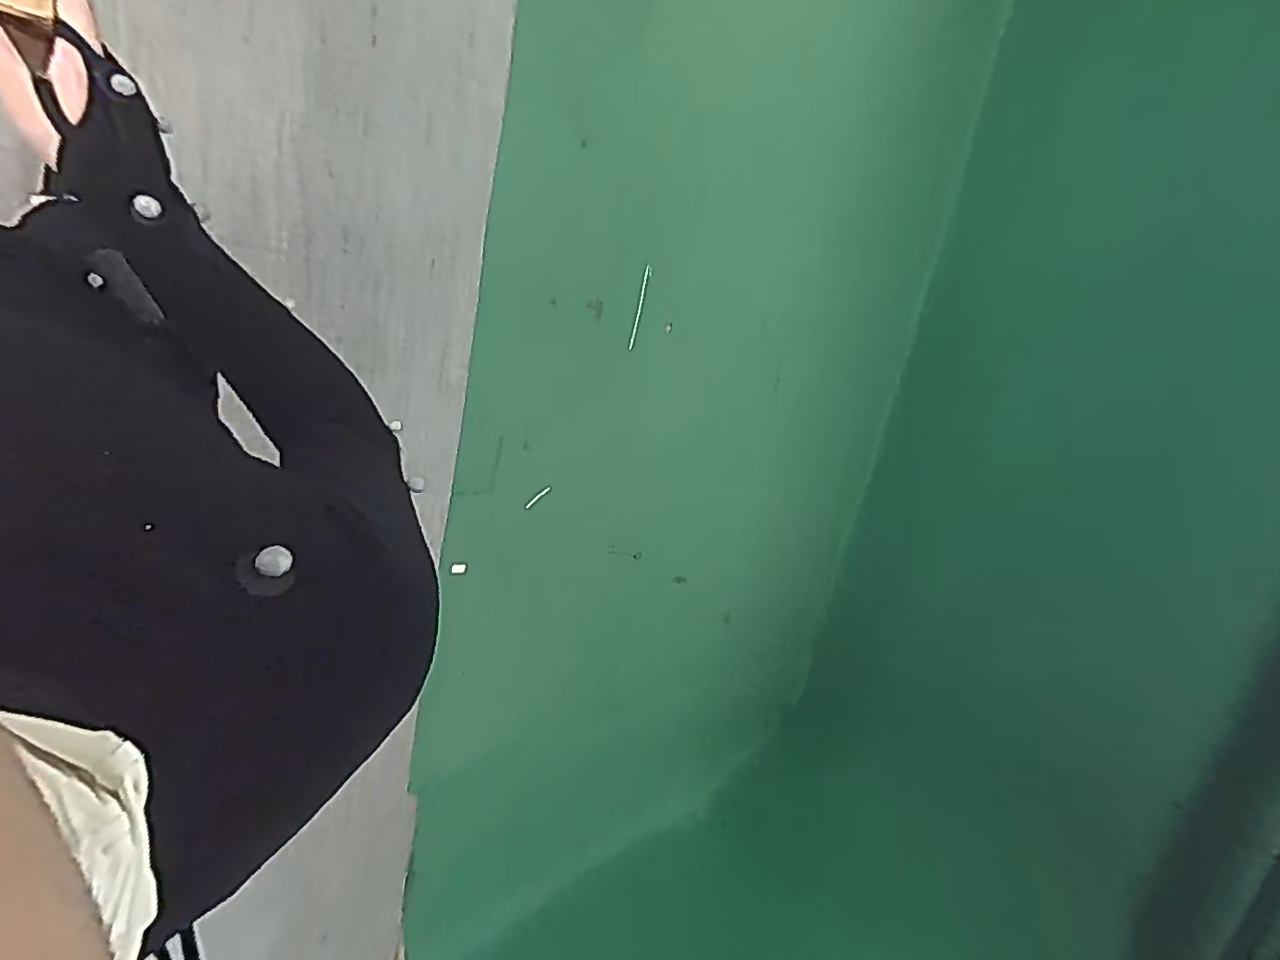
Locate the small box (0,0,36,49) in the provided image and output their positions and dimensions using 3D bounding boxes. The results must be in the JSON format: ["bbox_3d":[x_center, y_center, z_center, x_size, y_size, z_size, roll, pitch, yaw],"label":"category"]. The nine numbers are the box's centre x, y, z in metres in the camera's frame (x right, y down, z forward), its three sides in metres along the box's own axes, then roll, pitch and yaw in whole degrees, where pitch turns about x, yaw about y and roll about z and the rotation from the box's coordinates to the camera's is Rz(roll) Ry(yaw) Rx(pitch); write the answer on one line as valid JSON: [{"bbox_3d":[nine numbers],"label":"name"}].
[{"bbox_3d":[-0.512,-0.418,0.339,0.168,0.176,0.179,-10,112,-47],"label":"small box"}]
